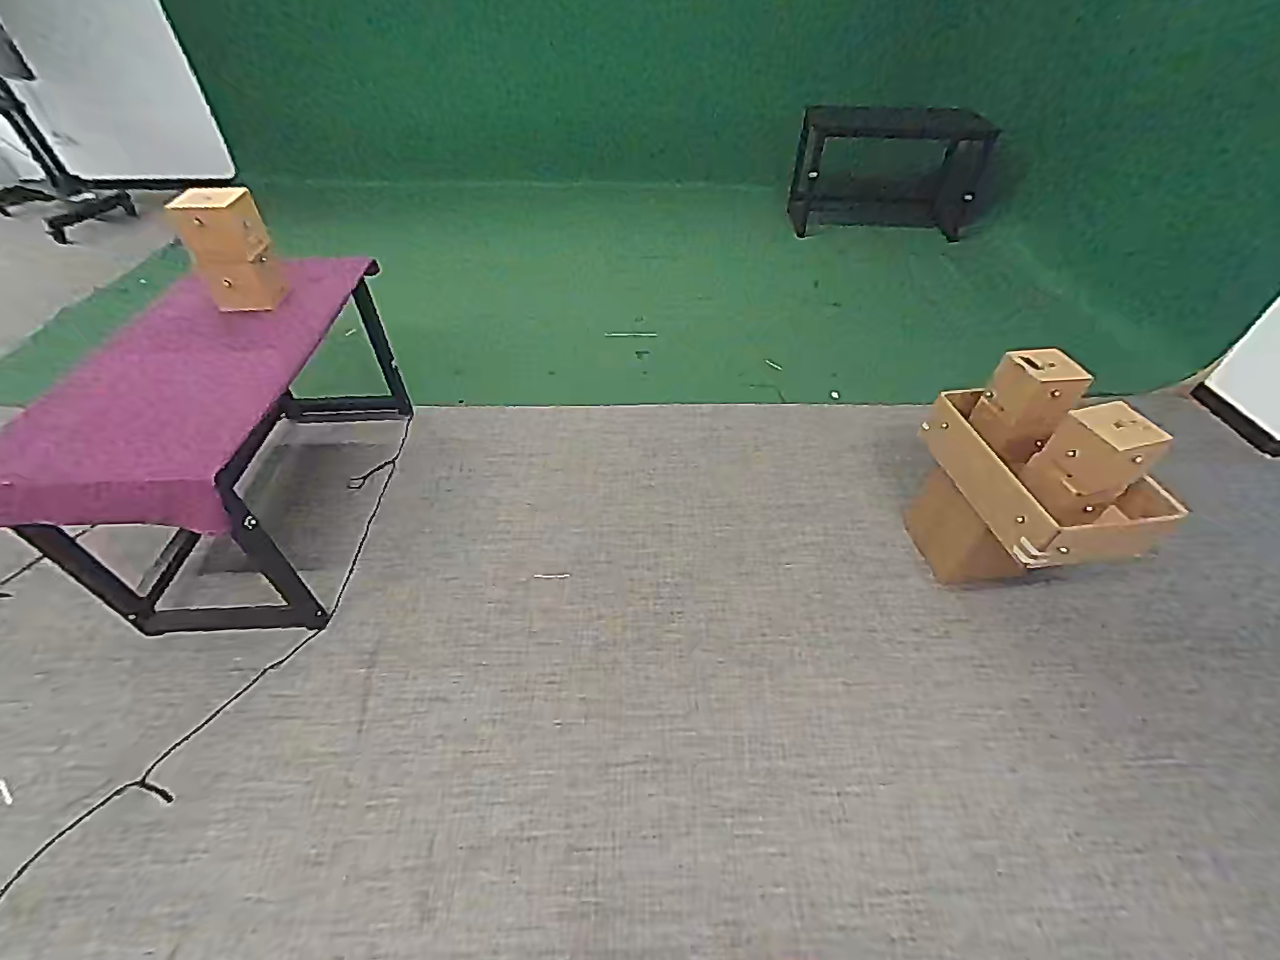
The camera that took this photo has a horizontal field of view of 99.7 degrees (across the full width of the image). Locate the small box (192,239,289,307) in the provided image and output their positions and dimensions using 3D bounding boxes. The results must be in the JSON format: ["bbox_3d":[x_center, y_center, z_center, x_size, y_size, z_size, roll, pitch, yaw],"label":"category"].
[{"bbox_3d":[-1.322,-0.691,1.802,0.179,0.176,0.168,-4,47,-4],"label":"small box"}]

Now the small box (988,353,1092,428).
[{"bbox_3d":[1.213,-0.273,1.664,0.179,0.176,0.168,-3,45,-6],"label":"small box"}]

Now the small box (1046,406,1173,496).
[{"bbox_3d":[1.253,-0.075,1.466,0.179,0.176,0.168,-10,47,-10],"label":"small box"}]

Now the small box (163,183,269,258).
[{"bbox_3d":[-1.308,-0.806,1.687,0.179,0.176,0.168,-3,46,-4],"label":"small box"}]
